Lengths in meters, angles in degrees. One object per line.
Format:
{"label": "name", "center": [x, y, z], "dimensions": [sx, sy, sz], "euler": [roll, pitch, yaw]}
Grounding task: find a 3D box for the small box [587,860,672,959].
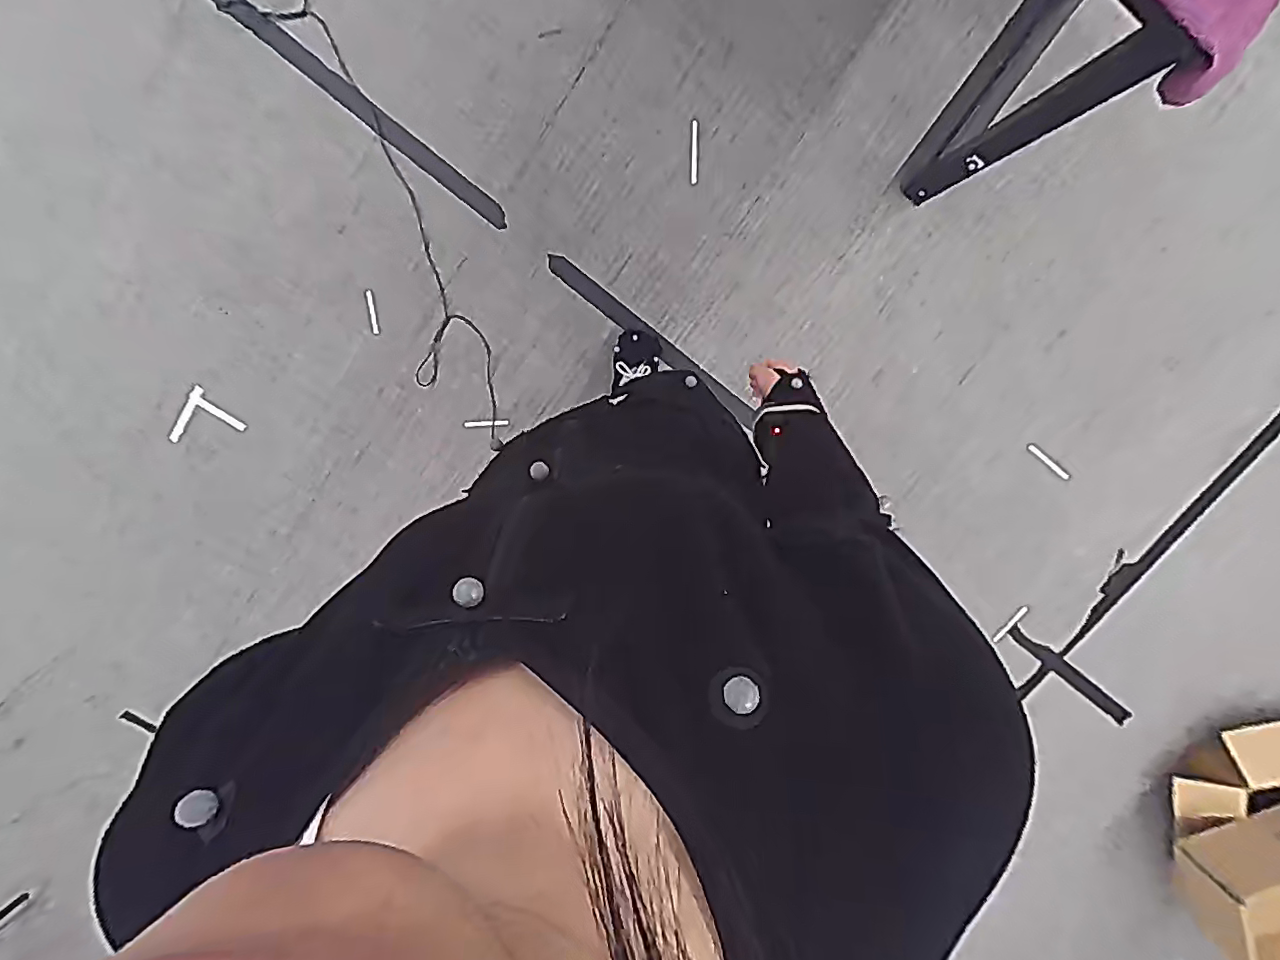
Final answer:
{"label": "small box", "center": [-0.030, 1.244, 1.536], "dimensions": [0.168, 0.176, 0.179], "euler": [40, 98, -10]}
